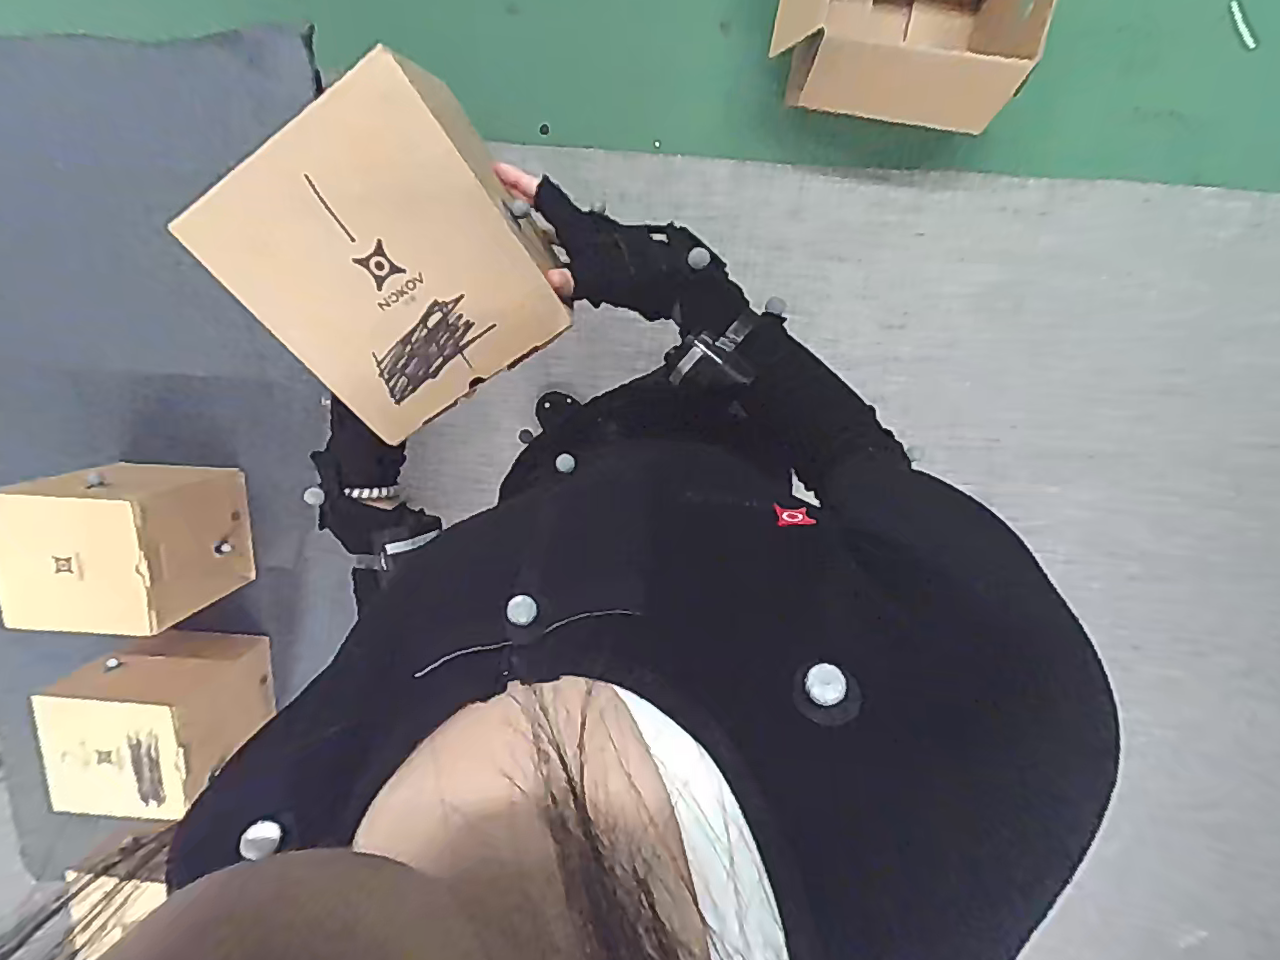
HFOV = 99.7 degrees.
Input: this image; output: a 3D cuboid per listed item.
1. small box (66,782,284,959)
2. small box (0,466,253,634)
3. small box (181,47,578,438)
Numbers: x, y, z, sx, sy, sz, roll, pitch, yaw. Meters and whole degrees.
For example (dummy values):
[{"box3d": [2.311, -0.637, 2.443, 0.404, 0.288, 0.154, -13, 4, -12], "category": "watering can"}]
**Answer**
[{"box3d": [-0.662, 0.577, 0.790, 0.179, 0.176, 0.168, 7, 102, 1], "category": "small box"}, {"box3d": [-0.642, 0.079, 0.689, 0.179, 0.176, 0.168, 2, 102, 0], "category": "small box"}, {"box3d": [-0.161, -0.169, 0.405, 0.168, 0.176, 0.179, -31, 119, 10], "category": "small box"}]
